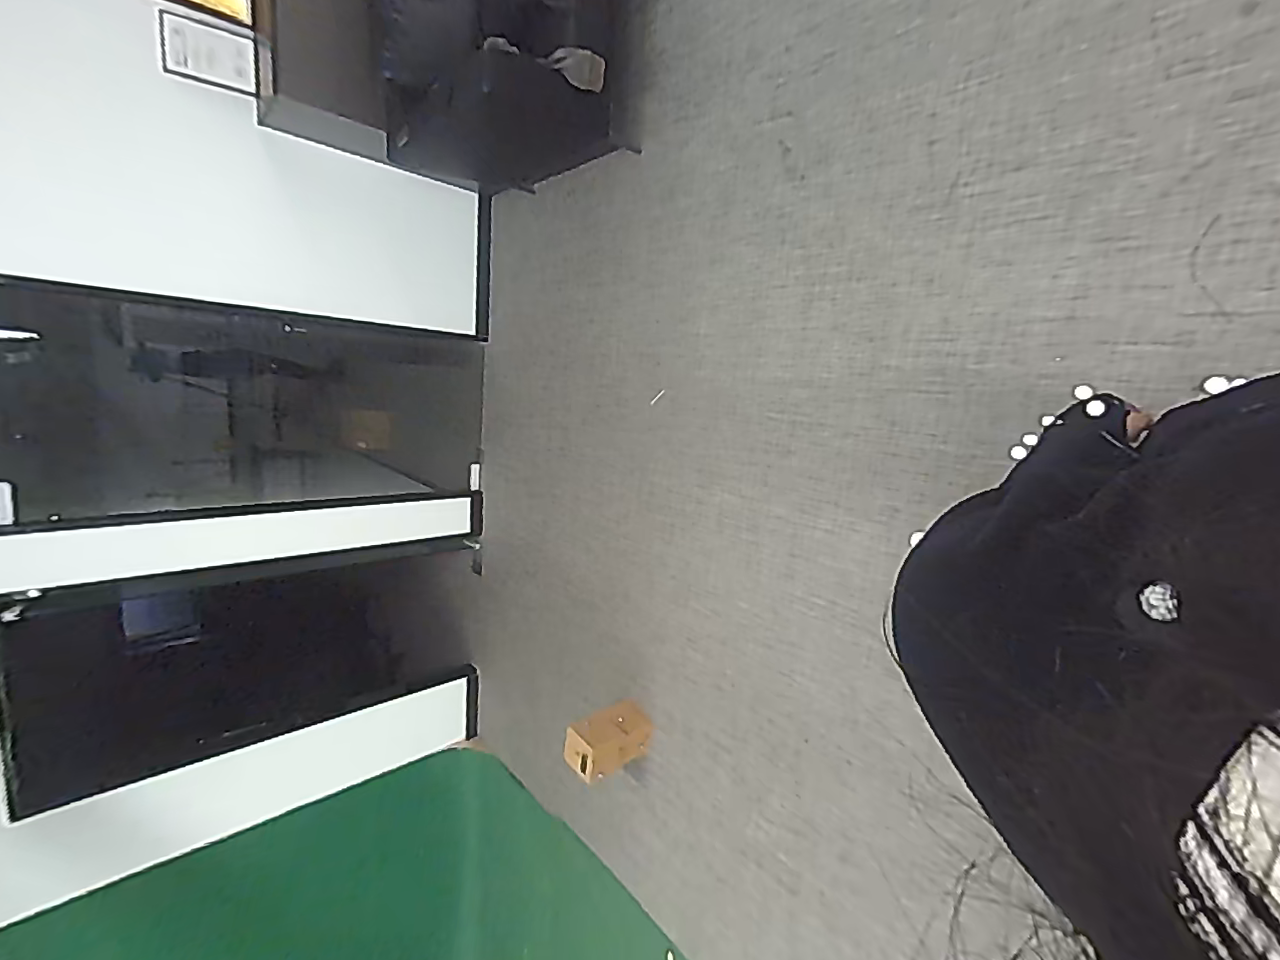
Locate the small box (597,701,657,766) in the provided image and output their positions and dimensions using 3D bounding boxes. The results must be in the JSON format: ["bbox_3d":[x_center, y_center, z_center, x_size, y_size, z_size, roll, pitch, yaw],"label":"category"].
[{"bbox_3d":[-0.056,1.084,2.335,0.179,0.176,0.168,29,114,42],"label":"small box"}]
